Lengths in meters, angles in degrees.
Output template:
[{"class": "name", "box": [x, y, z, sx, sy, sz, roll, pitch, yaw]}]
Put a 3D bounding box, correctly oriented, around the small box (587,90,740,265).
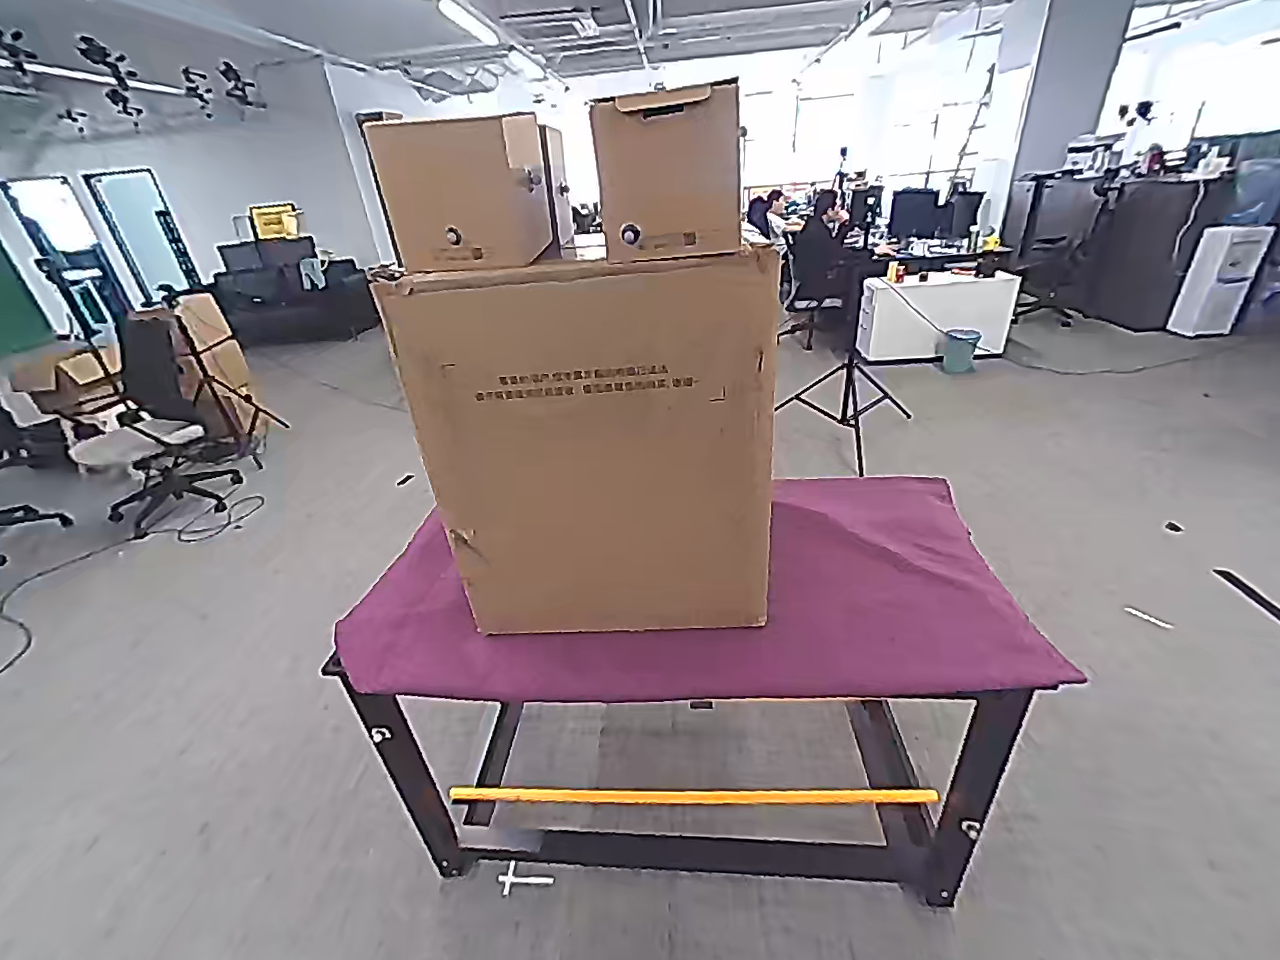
[{"class": "small box", "box": [0.037, -0.376, 0.687, 0.168, 0.176, 0.179, -3, 31, 6]}]
